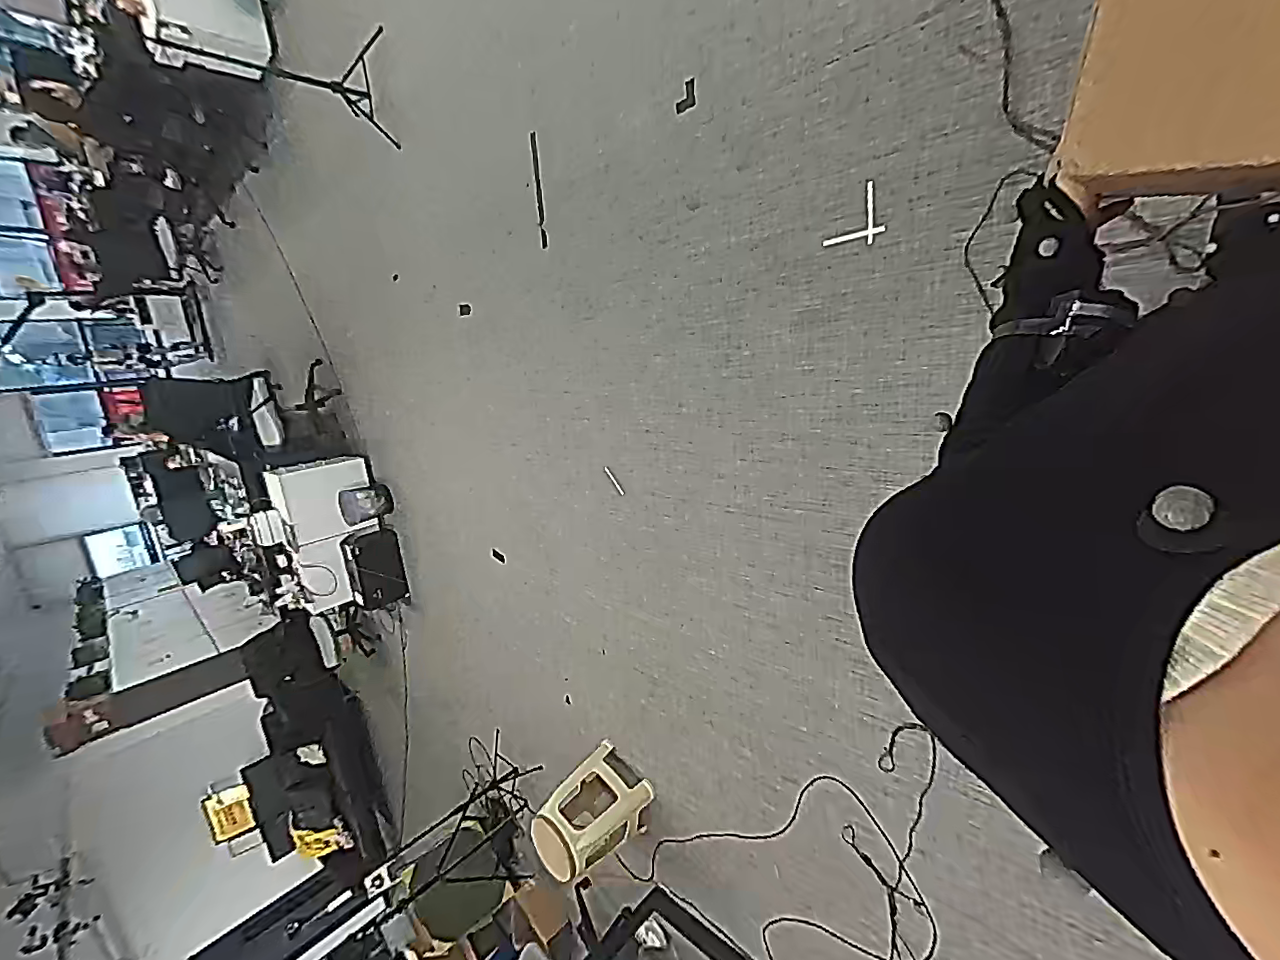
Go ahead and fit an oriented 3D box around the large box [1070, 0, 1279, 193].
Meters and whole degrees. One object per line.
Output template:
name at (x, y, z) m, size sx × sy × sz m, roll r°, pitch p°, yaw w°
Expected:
large box at (0.443, -0.296, 0.187) m, size 0.408 × 0.320 × 0.320 m, roll 17°, pitch 121°, yaw 36°
